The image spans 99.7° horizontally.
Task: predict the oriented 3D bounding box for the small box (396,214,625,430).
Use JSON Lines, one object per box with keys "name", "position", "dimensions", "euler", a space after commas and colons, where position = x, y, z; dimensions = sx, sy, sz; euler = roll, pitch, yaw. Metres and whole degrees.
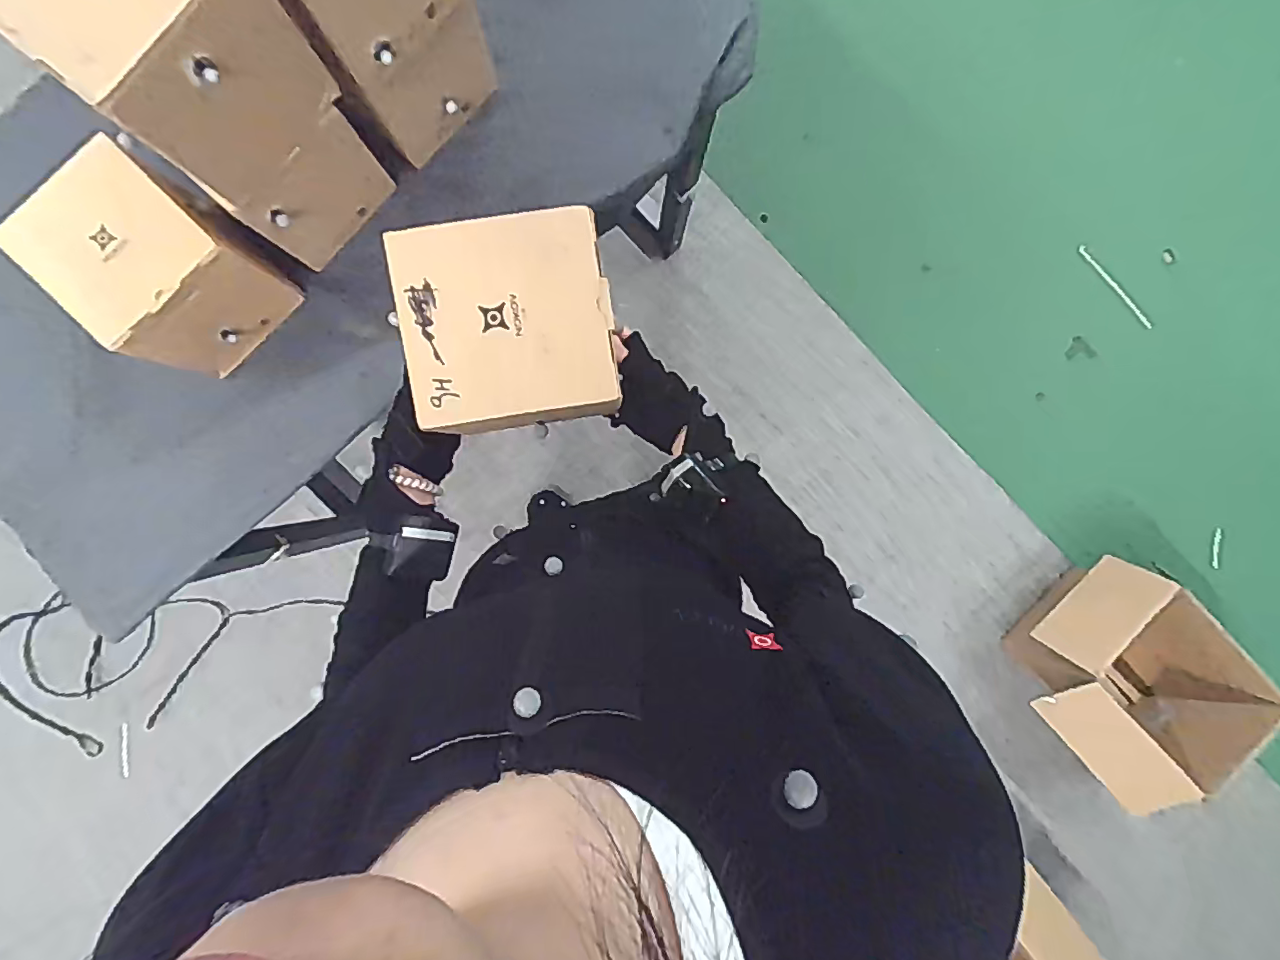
{"name": "small box", "position": [-0.115, -0.142, 0.543], "dimensions": [0.179, 0.176, 0.168], "euler": [-8, 94, -3]}
